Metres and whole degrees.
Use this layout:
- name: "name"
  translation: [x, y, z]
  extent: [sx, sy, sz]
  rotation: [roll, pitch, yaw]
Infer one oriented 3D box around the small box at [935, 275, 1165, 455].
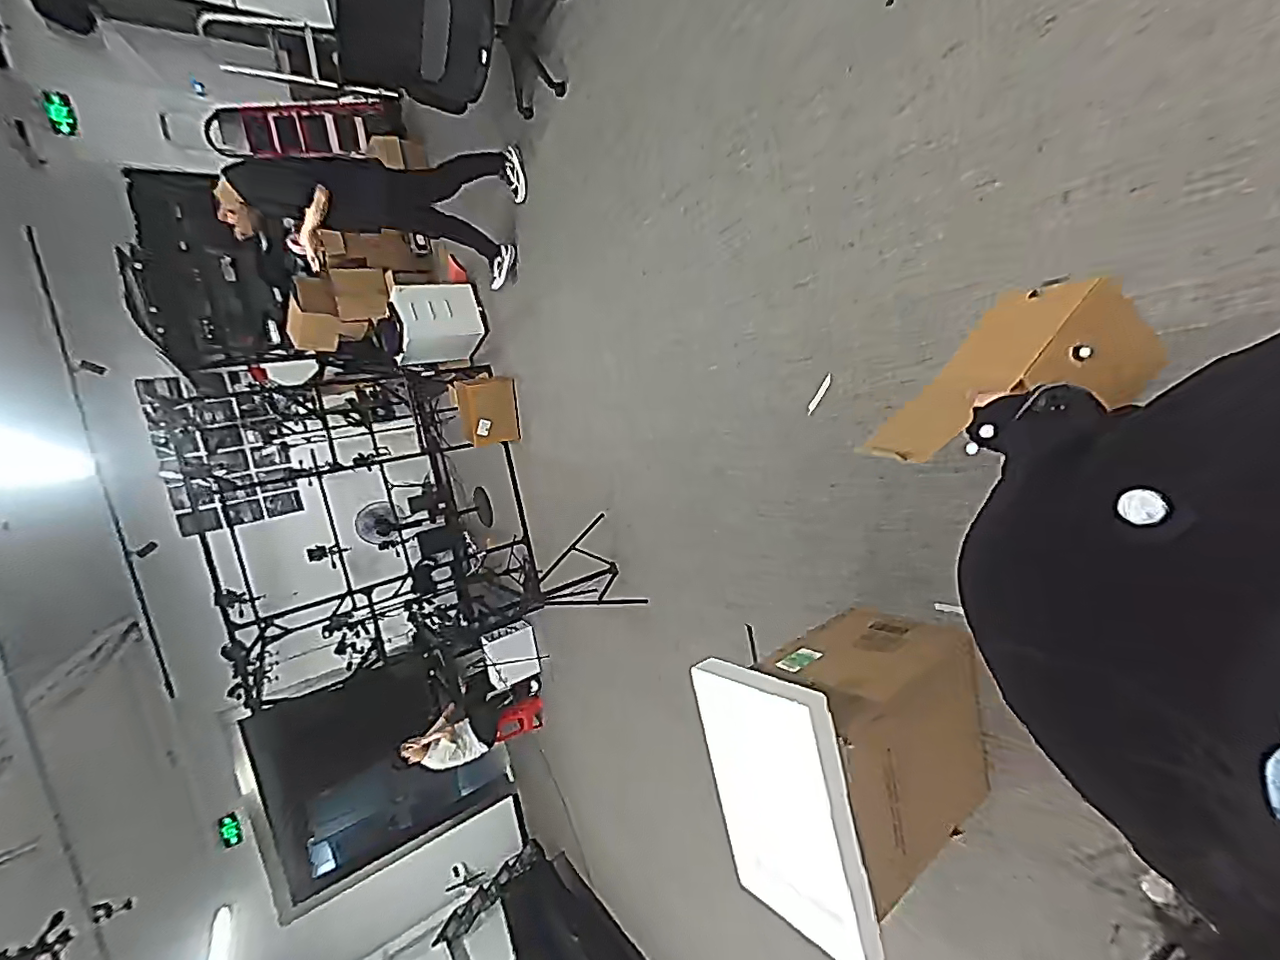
- name: "small box"
  translation: [0.584, -0.155, 0.778]
  extent: [0.176, 0.179, 0.168]
  rotation: [39, 180, -14]
